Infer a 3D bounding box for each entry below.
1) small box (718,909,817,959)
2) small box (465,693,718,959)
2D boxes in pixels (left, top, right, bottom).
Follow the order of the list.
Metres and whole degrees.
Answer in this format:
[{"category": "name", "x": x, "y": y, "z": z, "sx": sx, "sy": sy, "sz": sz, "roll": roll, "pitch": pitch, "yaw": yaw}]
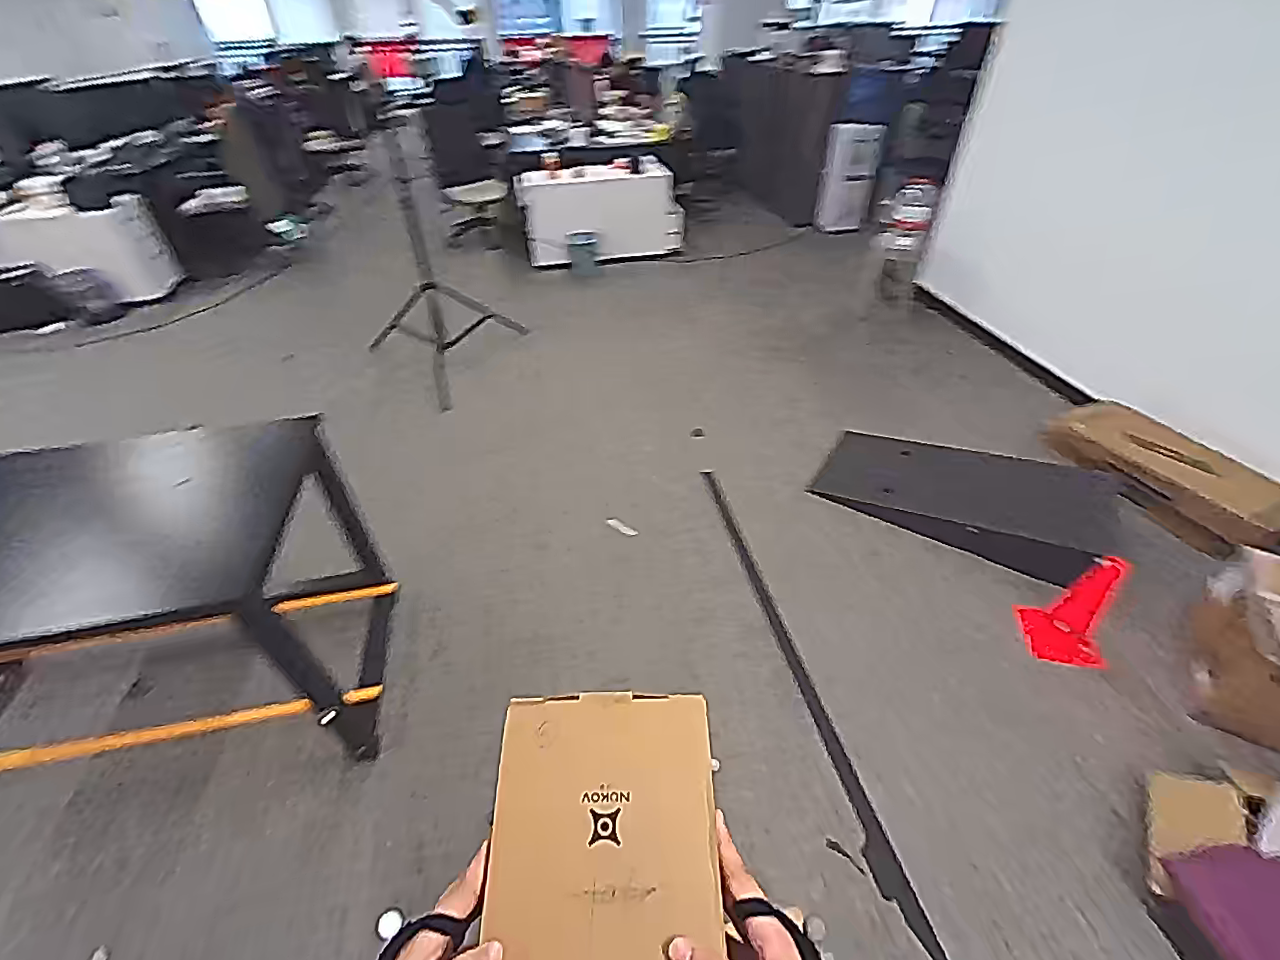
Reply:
[{"category": "small box", "x": 0.255, "y": 0.972, "z": 1.048, "sx": 0.168, "sy": 0.176, "sz": 0.179, "roll": -7, "pitch": 42, "yaw": -7}, {"category": "small box", "x": -0.033, "y": 0.292, "z": 0.455, "sx": 0.168, "sy": 0.176, "sz": 0.179, "roll": -2, "pitch": 56, "yaw": -1}]
